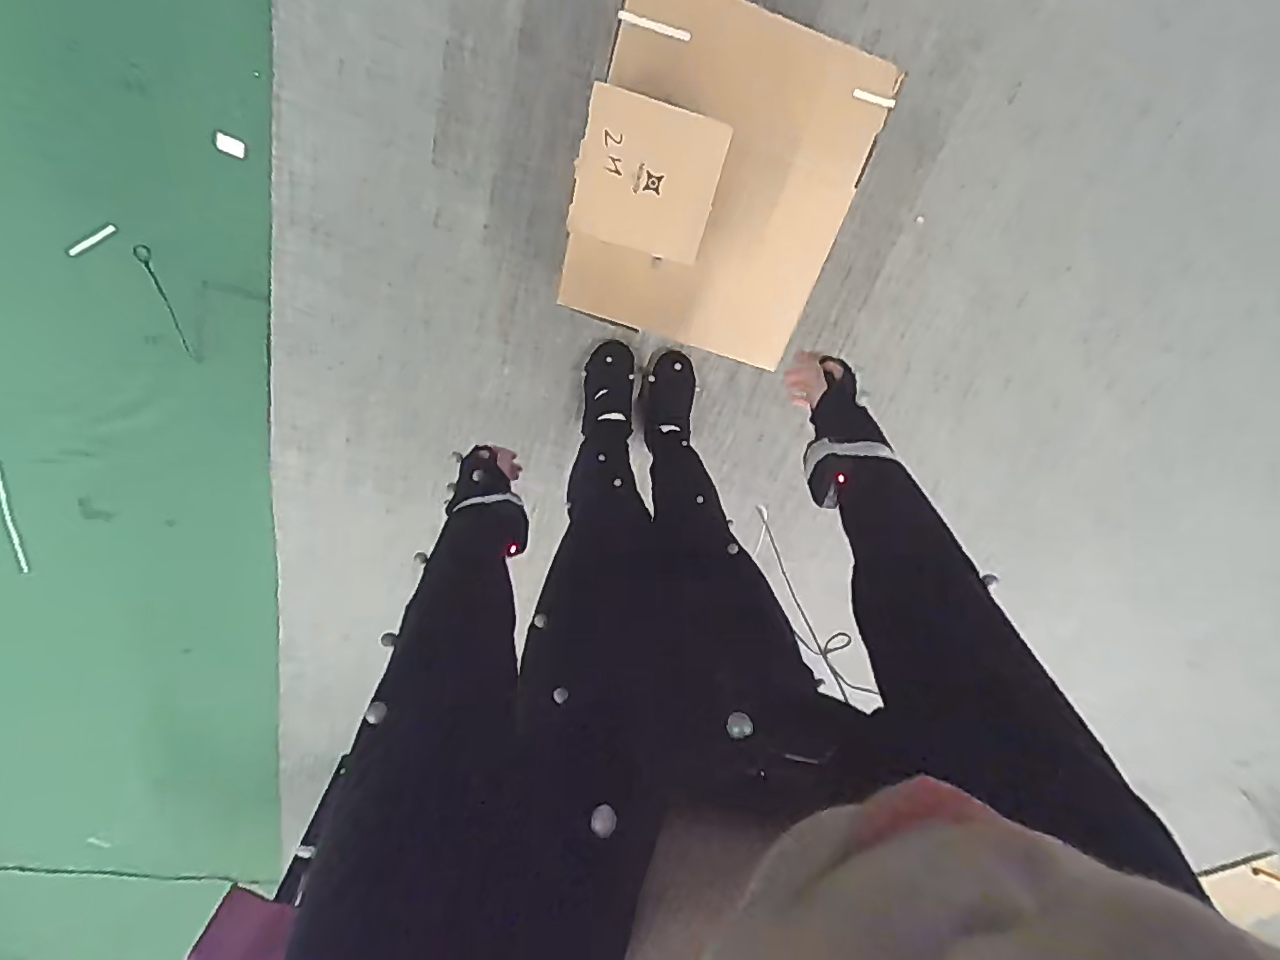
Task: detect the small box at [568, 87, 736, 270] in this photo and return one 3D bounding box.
[{"bbox_3d":[0.010,-0.404,0.742,0.179,0.176,0.168,13,115,-8],"label":"small box"}]
